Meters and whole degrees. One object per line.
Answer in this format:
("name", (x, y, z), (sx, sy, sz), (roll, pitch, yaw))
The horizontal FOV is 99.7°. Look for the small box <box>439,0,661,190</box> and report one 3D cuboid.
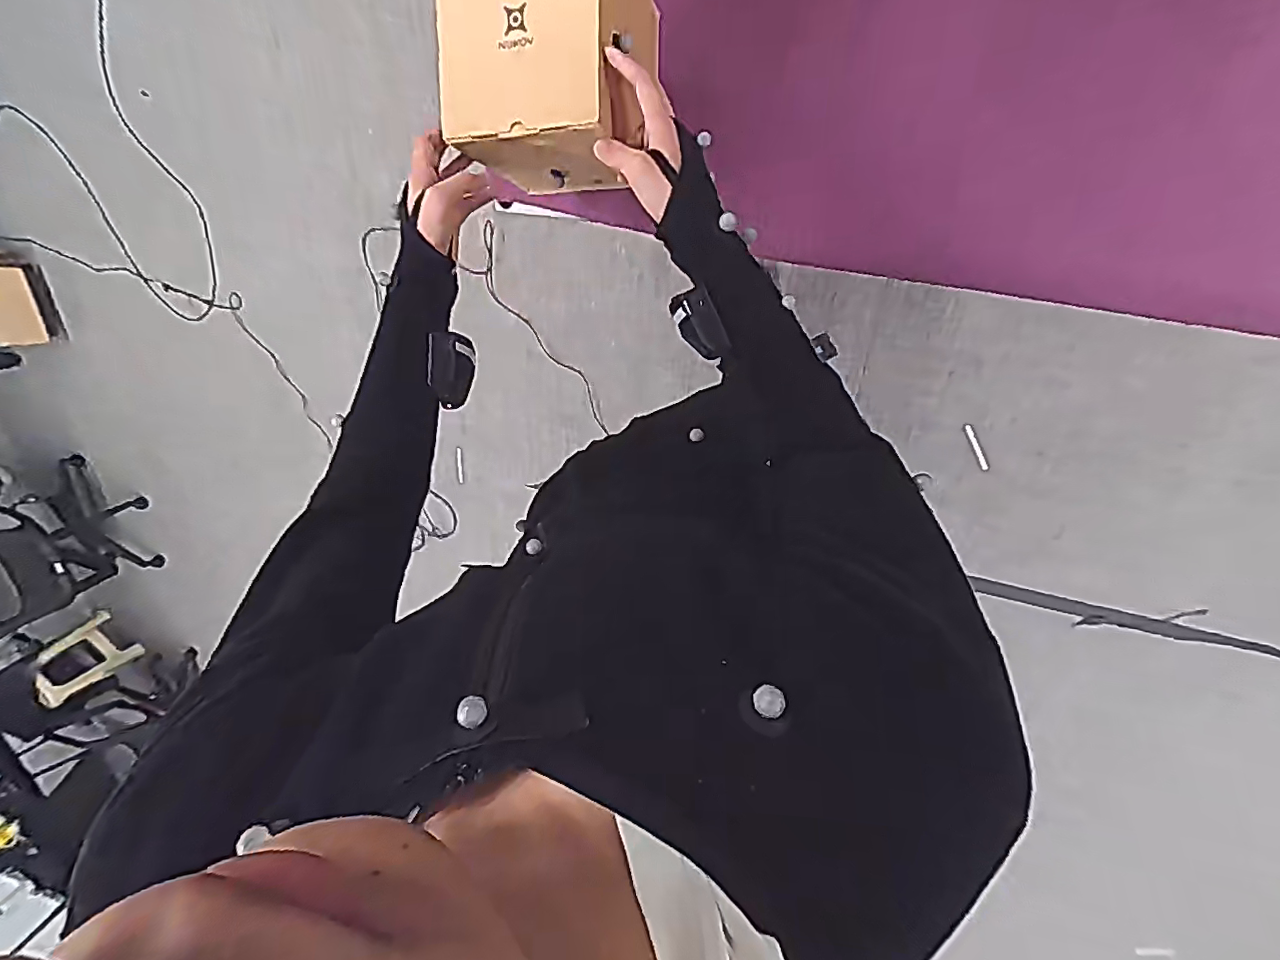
("small box", (-0.081, -0.419, 0.550), (0.168, 0.176, 0.179), (6, 103, 18))
